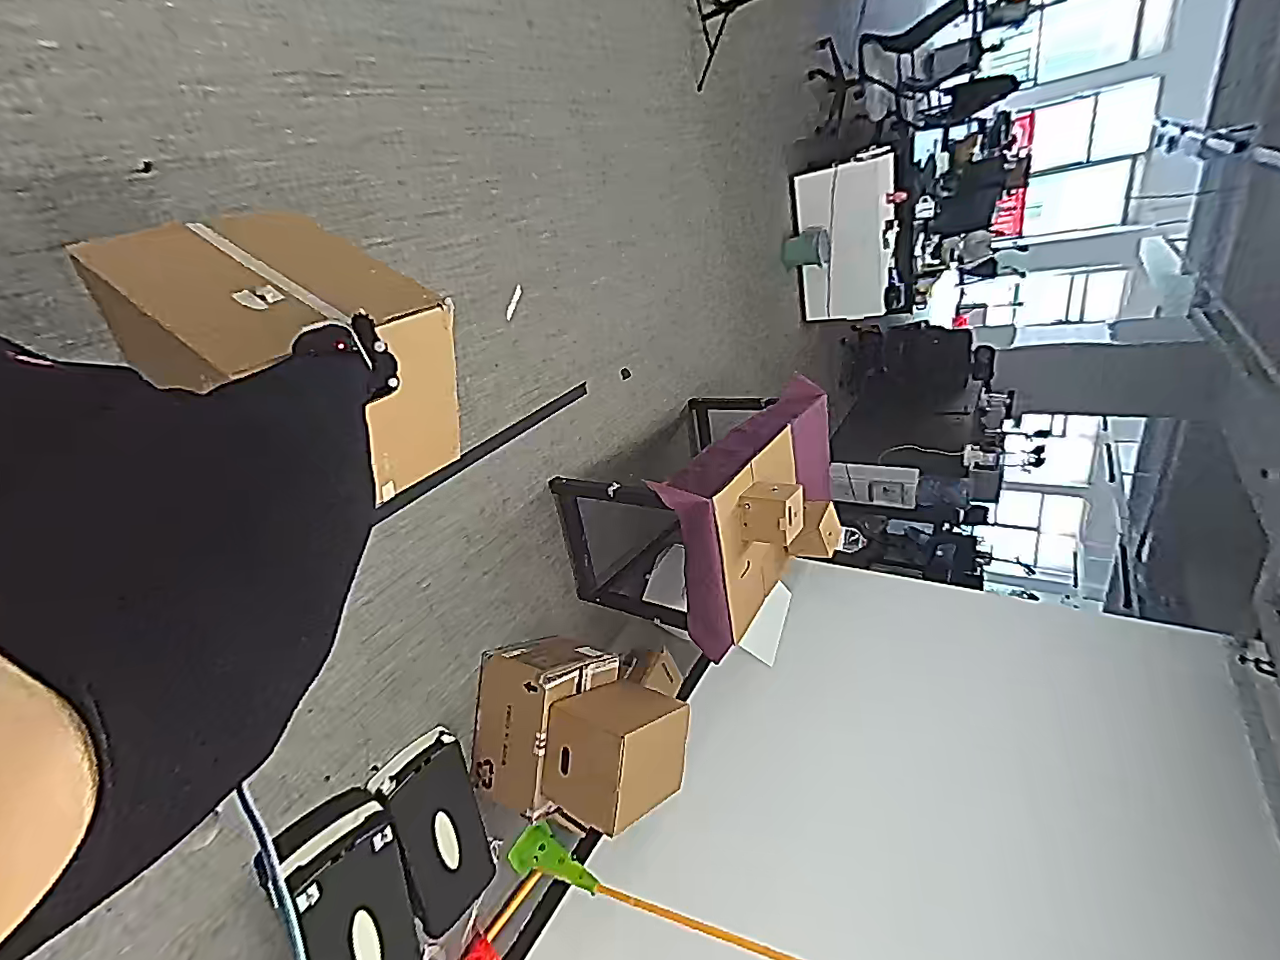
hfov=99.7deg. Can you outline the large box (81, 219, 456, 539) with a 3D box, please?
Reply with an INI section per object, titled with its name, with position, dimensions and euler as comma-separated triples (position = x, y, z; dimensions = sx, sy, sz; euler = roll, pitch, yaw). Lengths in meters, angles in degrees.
[large box]
position = -0.560, -0.180, 0.888
dimensions = 0.320, 0.408, 0.320
euler = -41, 157, -42
